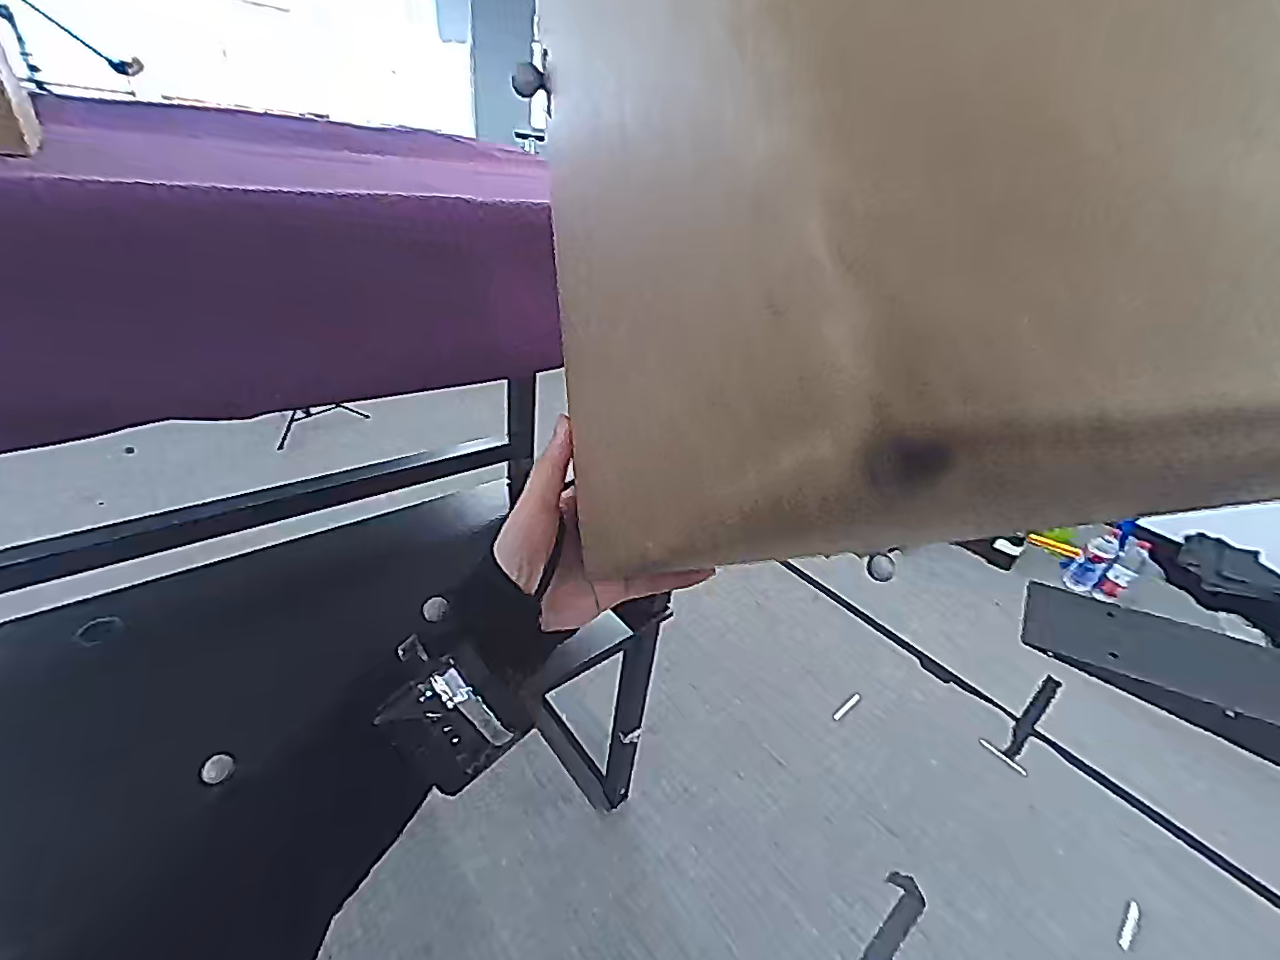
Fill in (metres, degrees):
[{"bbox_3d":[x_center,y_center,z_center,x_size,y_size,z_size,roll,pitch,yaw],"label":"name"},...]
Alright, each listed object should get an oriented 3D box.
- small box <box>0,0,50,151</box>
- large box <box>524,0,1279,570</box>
[{"bbox_3d":[-0.550,-0.334,0.363,0.168,0.176,0.179,-19,42,-35],"label":"small box"},{"bbox_3d":[0.112,-0.185,0.243,0.320,0.320,0.408,-5,79,-10],"label":"large box"}]
